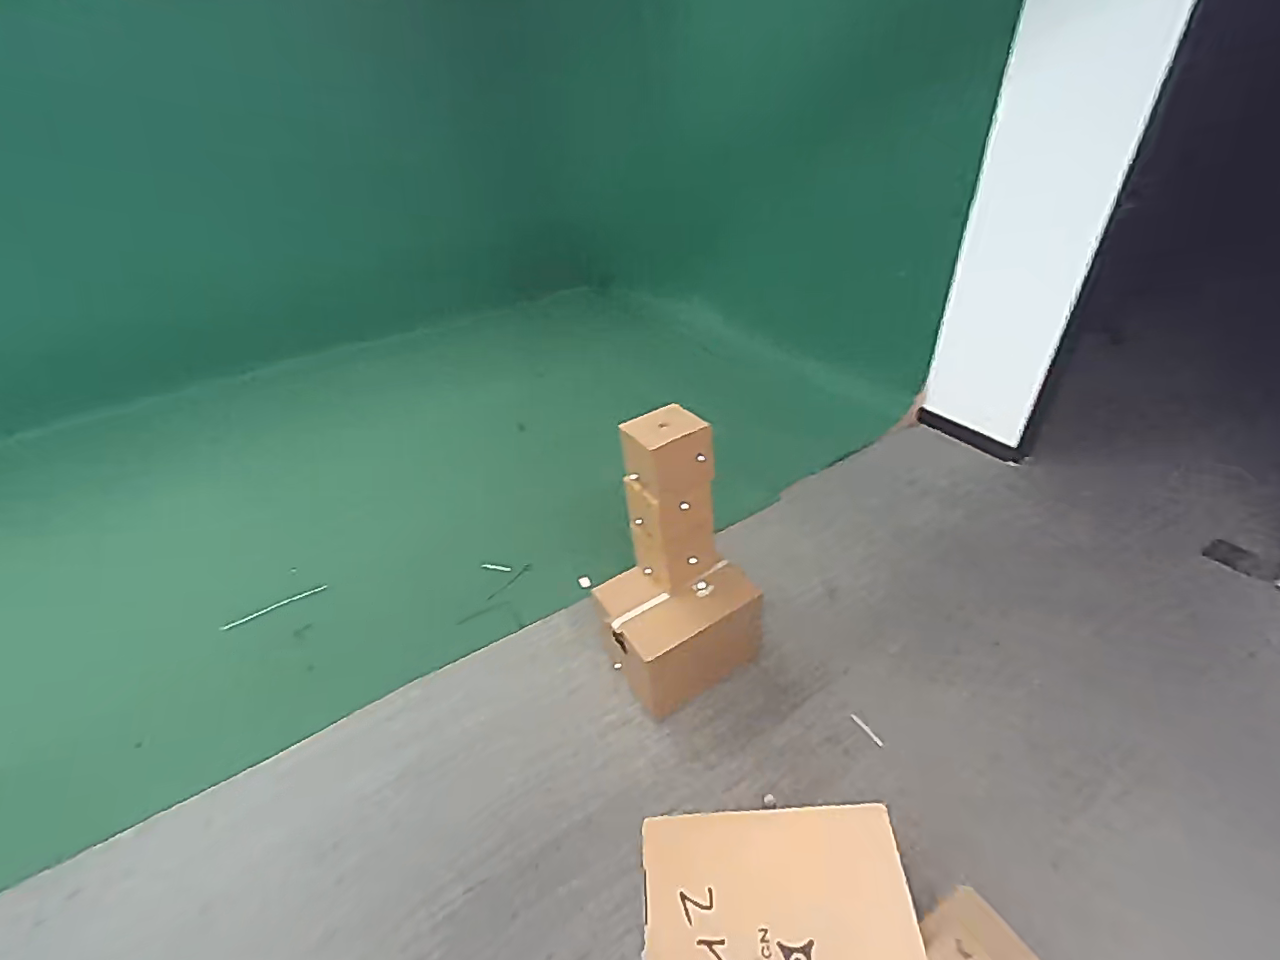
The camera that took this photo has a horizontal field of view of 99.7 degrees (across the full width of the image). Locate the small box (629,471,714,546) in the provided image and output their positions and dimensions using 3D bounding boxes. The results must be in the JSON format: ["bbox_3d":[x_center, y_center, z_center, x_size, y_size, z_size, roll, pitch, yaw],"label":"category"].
[{"bbox_3d":[0.091,0.051,1.505,0.179,0.176,0.168,-26,38,-21],"label":"small box"}]

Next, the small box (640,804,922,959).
[{"bbox_3d":[0.098,0.351,0.404,0.179,0.176,0.168,-7,50,4],"label":"small box"}]

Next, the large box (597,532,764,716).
[{"bbox_3d":[0.128,0.434,1.672,0.408,0.320,0.320,-24,40,-22],"label":"large box"}]

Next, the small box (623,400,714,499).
[{"bbox_3d":[0.078,-0.081,1.409,0.179,0.176,0.168,-25,37,-19],"label":"small box"}]
